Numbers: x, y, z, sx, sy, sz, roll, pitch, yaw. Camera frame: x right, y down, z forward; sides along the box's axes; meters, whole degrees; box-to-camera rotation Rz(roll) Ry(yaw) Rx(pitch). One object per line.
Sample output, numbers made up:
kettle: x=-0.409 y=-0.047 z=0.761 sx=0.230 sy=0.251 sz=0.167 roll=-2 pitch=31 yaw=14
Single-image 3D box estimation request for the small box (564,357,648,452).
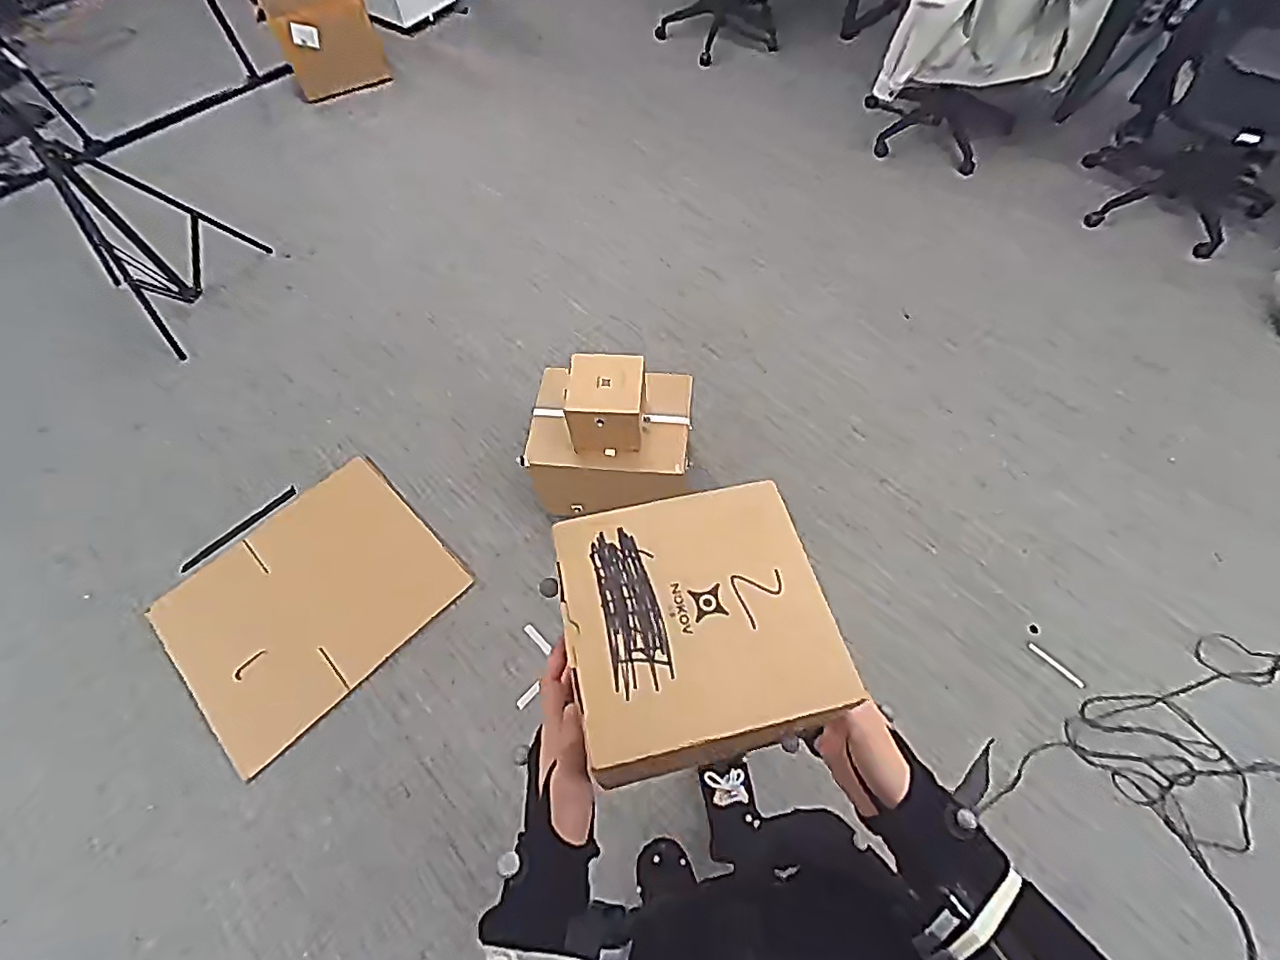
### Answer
small box: x=-0.075 y=-0.178 z=1.312 sx=0.179 sy=0.176 sz=0.168 roll=2 pitch=63 yaw=3
